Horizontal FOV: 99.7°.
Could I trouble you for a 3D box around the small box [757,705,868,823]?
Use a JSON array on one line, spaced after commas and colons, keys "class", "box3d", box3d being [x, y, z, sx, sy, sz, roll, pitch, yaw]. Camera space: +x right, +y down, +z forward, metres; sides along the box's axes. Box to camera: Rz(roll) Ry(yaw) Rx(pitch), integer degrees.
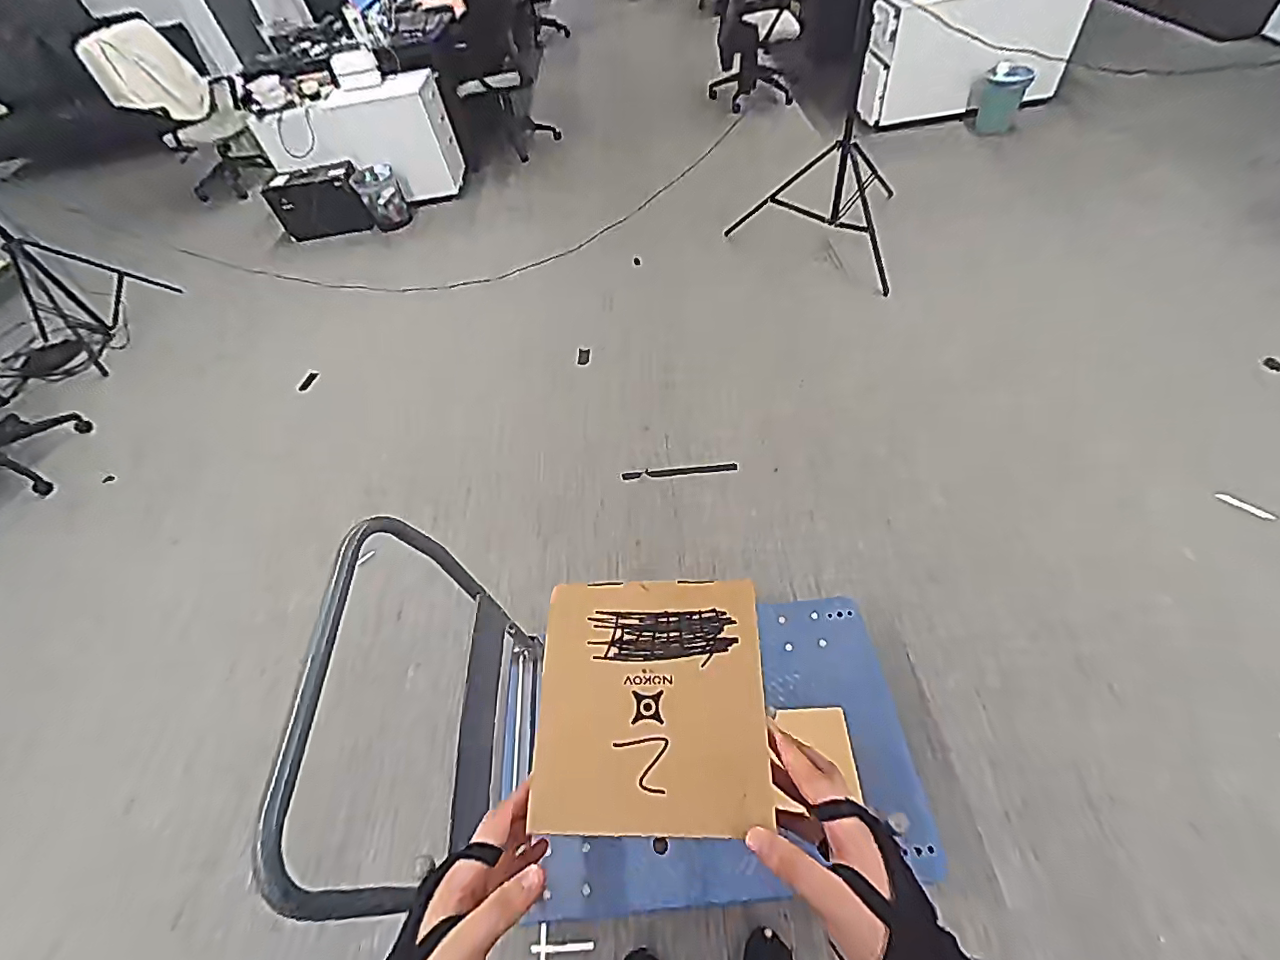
[{"class": "small box", "box3d": [0.324, 0.556, 1.054, 0.168, 0.176, 0.179, -6, 52, 6]}]
